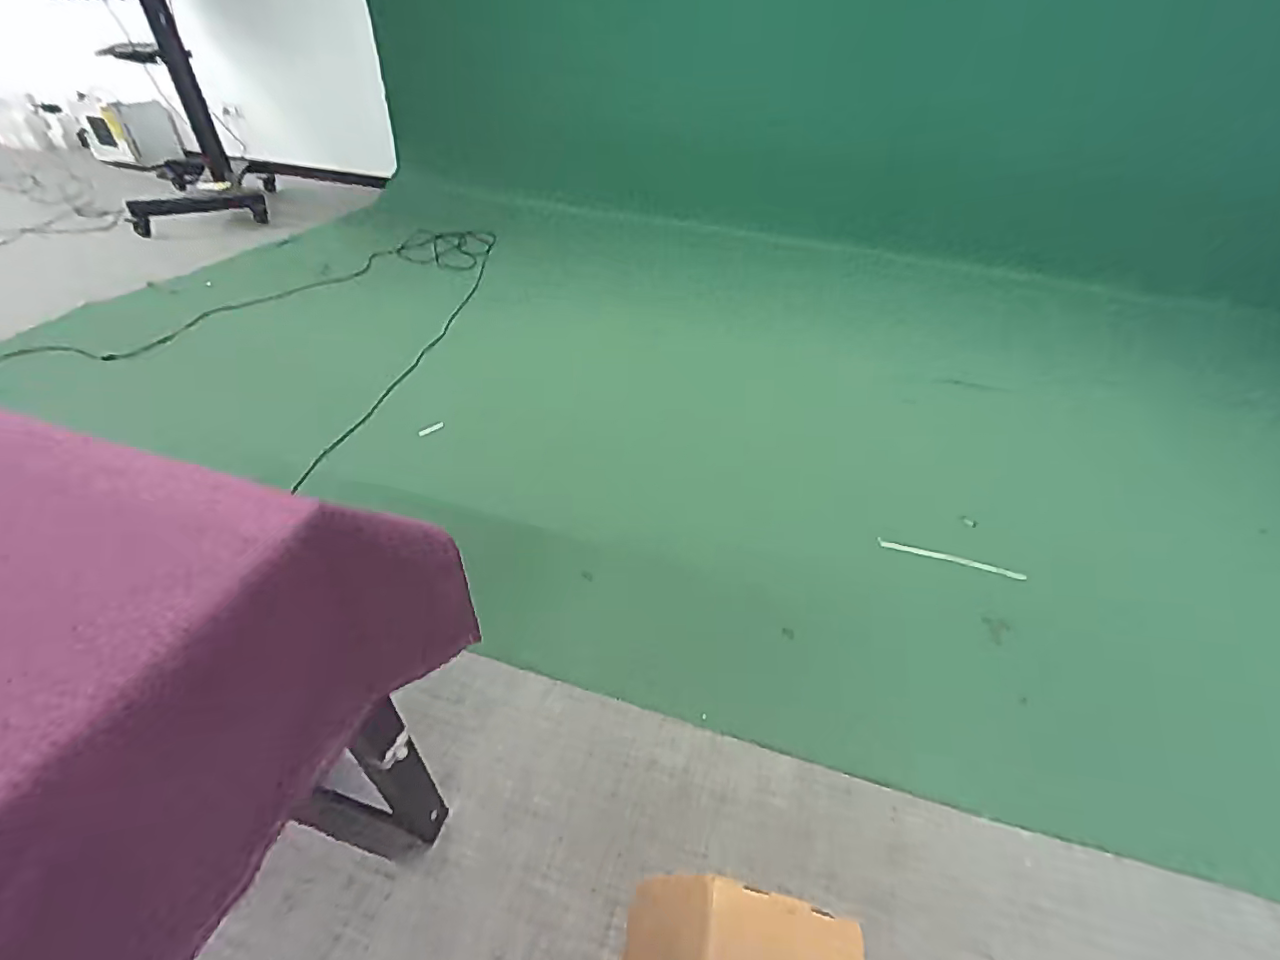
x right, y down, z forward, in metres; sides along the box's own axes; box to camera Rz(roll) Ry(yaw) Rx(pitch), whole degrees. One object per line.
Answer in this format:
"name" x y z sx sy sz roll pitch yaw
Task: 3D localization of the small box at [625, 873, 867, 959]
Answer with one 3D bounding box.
"small box" 0.085 0.487 0.491 0.168 0.176 0.179 26 47 -11
